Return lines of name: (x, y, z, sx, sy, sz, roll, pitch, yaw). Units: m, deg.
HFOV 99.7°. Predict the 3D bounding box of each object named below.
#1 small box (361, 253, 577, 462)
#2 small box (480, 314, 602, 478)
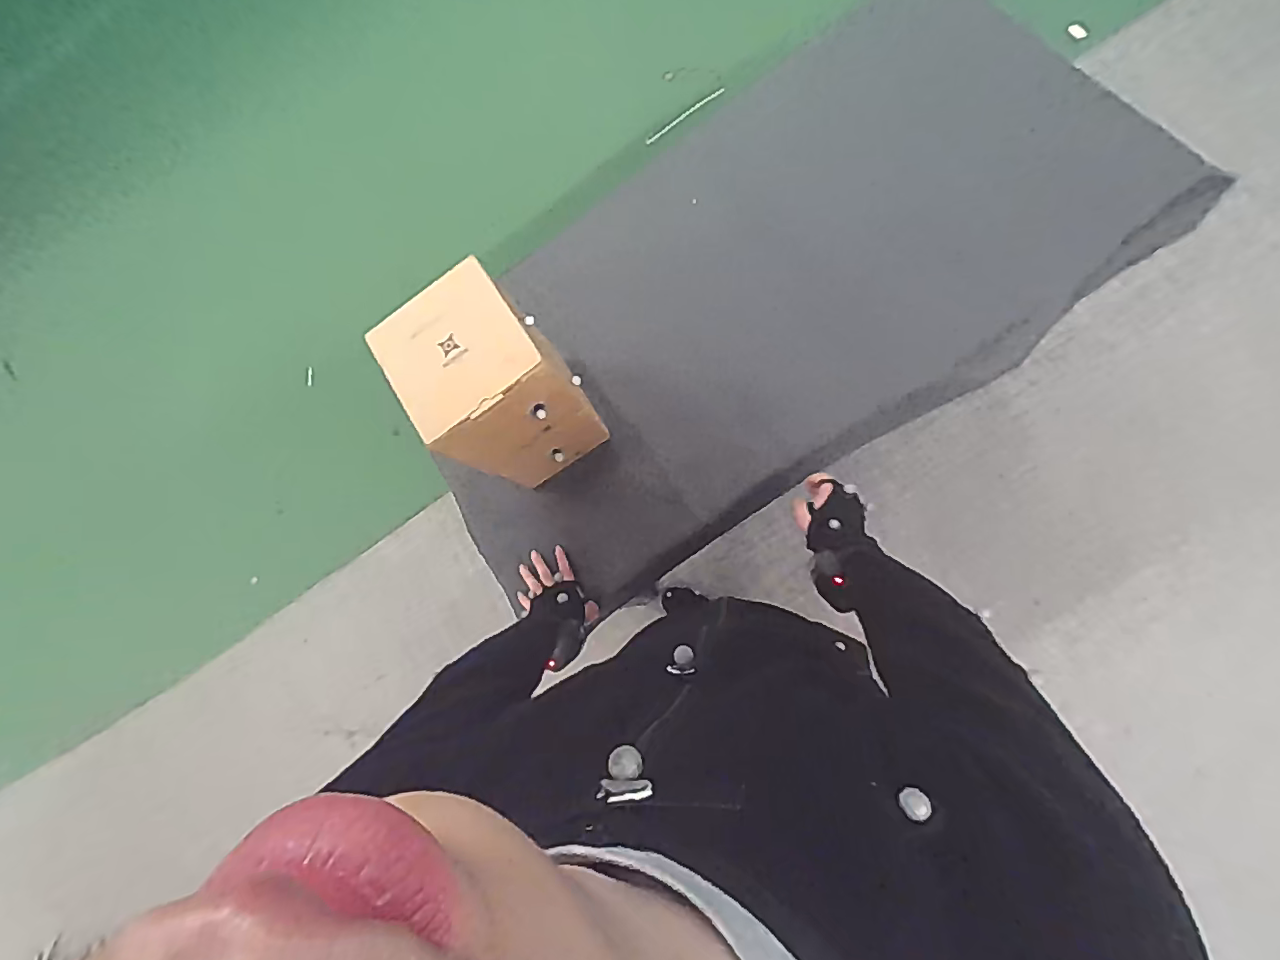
small box: (-0.206, -0.140, 0.693, 0.168, 0.176, 0.179, -35, 73, 2)
small box: (-0.181, -0.118, 0.853, 0.168, 0.176, 0.179, -33, 74, 3)
